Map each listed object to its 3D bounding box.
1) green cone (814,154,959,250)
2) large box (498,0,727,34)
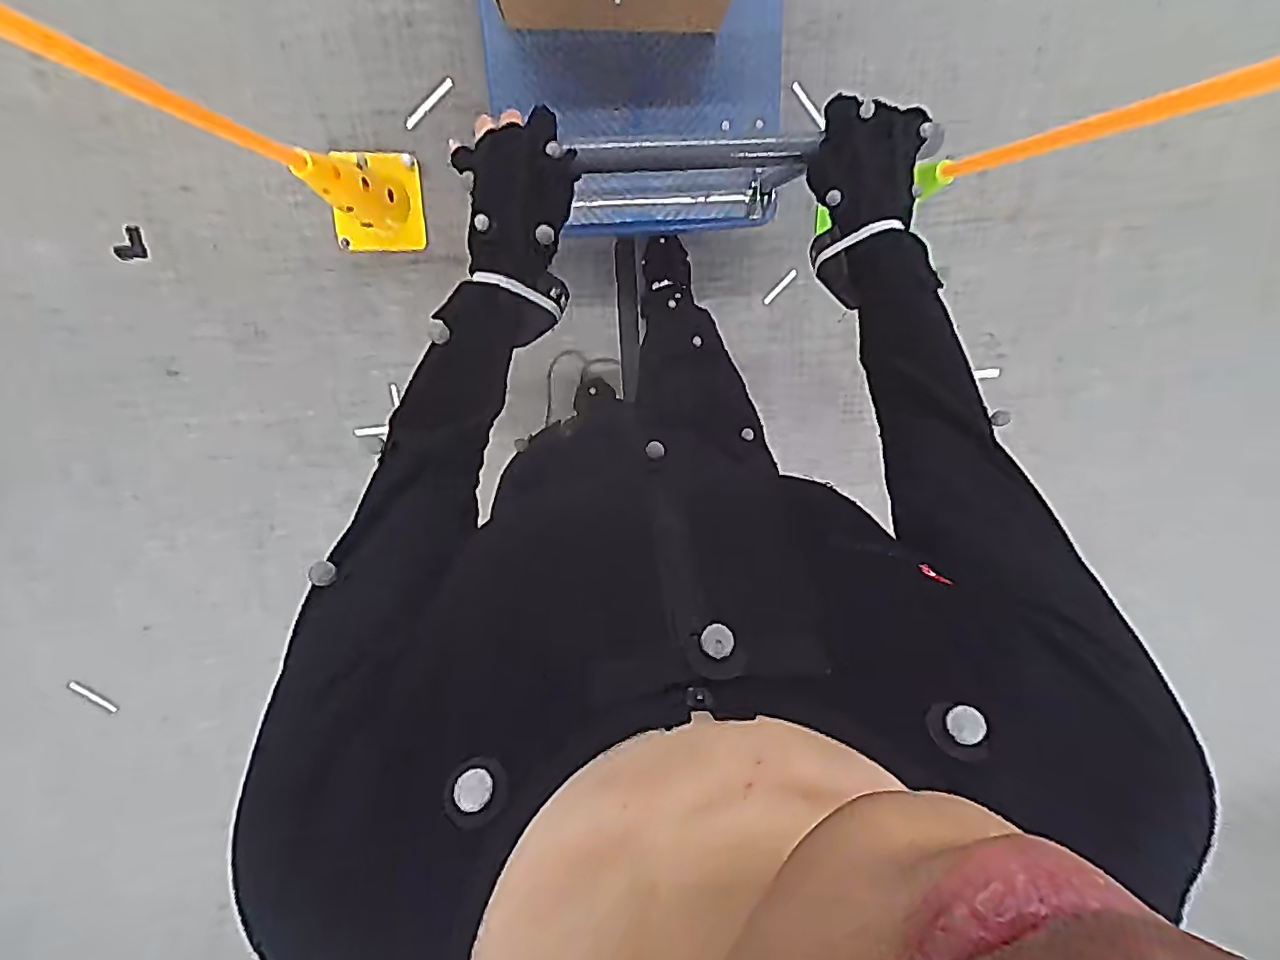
[{"bbox_3d":[0.543,-0.621,1.158,0.202,0.368,0.200,-2,107,-5],"label":"green cone"},{"bbox_3d":[-0.047,-0.958,0.856,0.408,0.320,0.320,-2,108,-3],"label":"large box"}]
